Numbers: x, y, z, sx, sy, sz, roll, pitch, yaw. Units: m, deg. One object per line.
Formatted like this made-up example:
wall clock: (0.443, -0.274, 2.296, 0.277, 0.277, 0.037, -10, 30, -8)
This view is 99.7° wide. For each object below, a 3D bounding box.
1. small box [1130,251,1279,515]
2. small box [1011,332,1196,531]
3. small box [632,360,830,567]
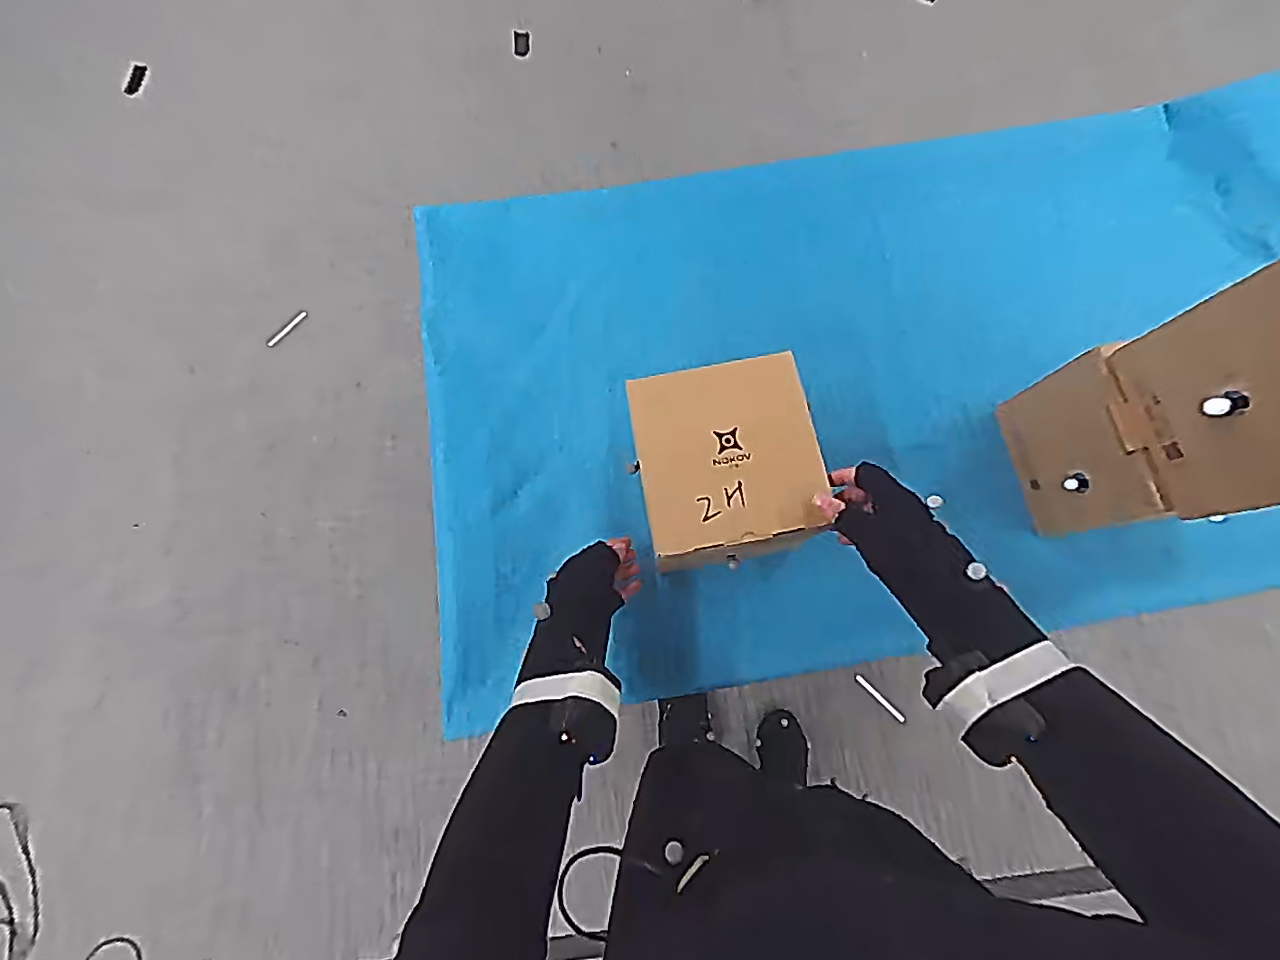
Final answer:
small box: (0.534, -0.080, 0.408, 0.179, 0.176, 0.168, -13, 76, -2)
small box: (0.532, -0.047, 0.567, 0.179, 0.176, 0.168, -10, 76, 0)
small box: (0.084, -0.006, 0.579, 0.168, 0.176, 0.179, -8, 78, 2)
